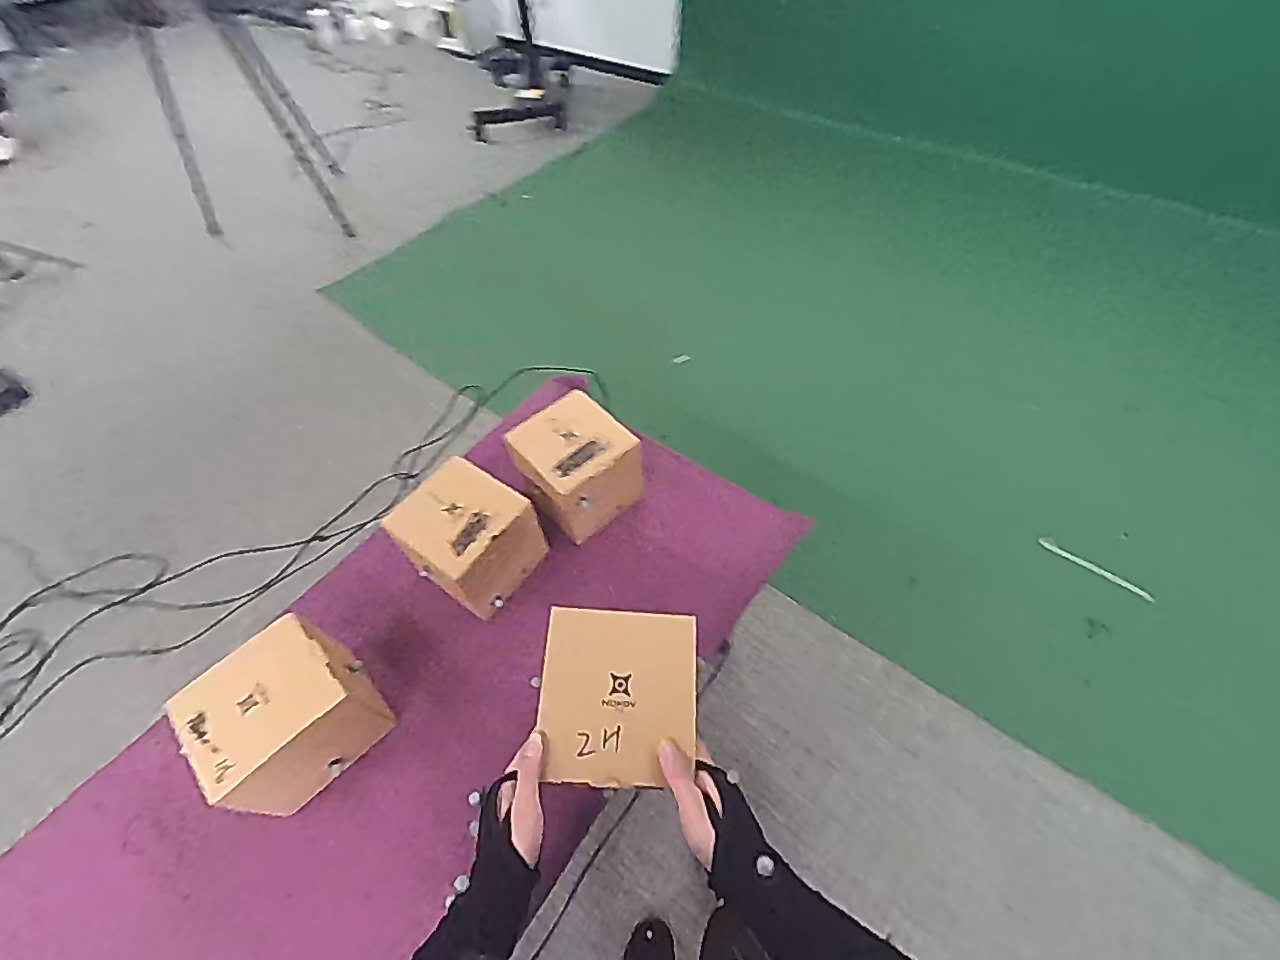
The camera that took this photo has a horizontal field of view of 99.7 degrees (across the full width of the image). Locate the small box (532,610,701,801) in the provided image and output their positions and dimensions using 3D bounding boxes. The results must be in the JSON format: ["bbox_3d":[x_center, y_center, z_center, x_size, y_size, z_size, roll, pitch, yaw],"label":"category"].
[{"bbox_3d":[-0.025,0.267,0.638,0.168,0.176,0.179,5,63,-1],"label":"small box"}]

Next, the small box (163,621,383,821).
[{"bbox_3d":[-0.490,0.337,0.753,0.168,0.176,0.179,38,64,26],"label":"small box"}]
